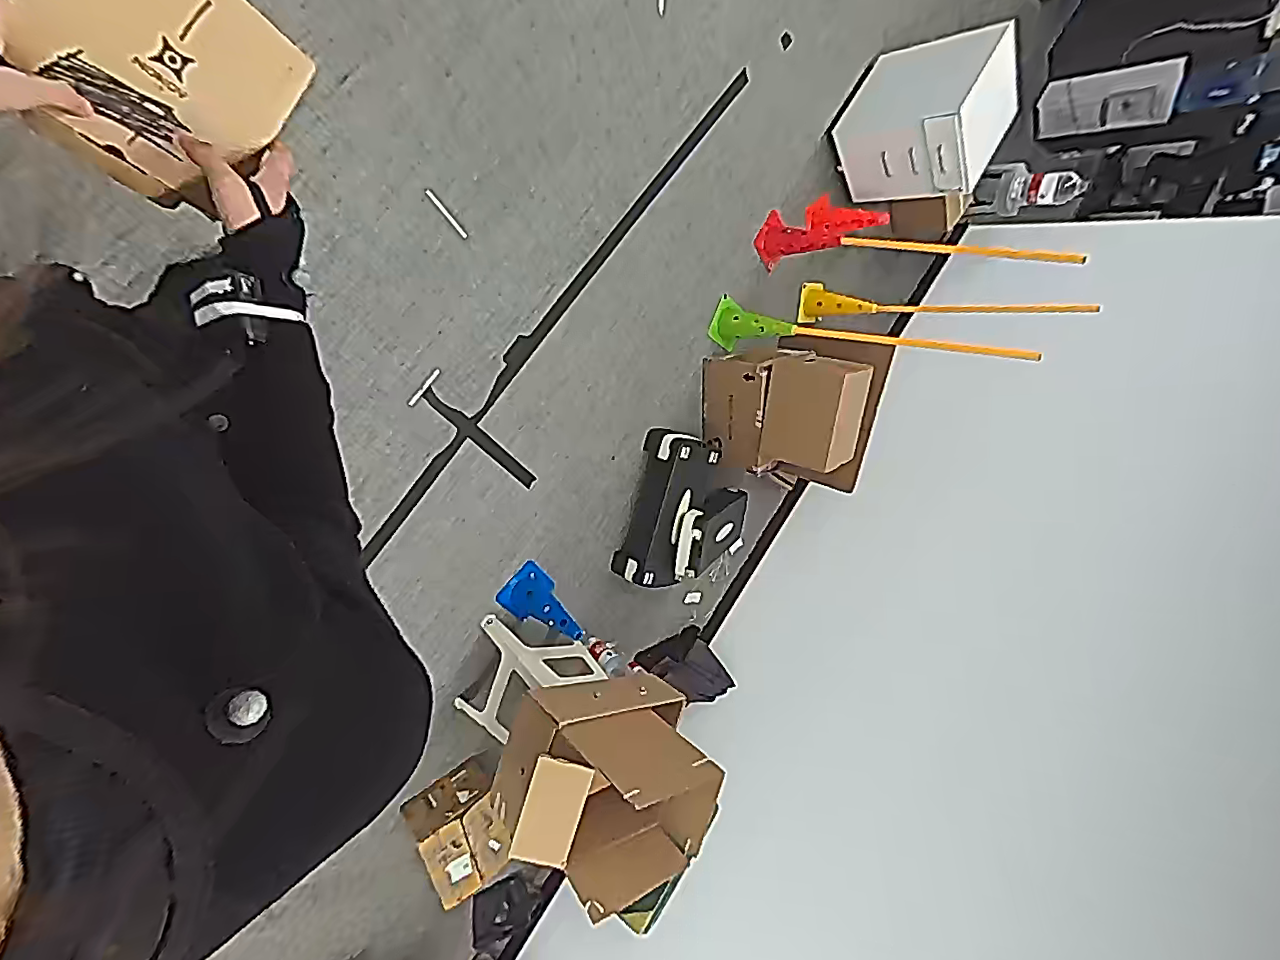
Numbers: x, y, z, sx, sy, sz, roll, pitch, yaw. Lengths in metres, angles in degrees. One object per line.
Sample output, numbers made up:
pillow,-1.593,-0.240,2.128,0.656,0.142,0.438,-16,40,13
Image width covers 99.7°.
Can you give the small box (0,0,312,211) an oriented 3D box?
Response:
small box,-0.445,-0.390,0.497,0.179,0.176,0.168,-55,144,5
